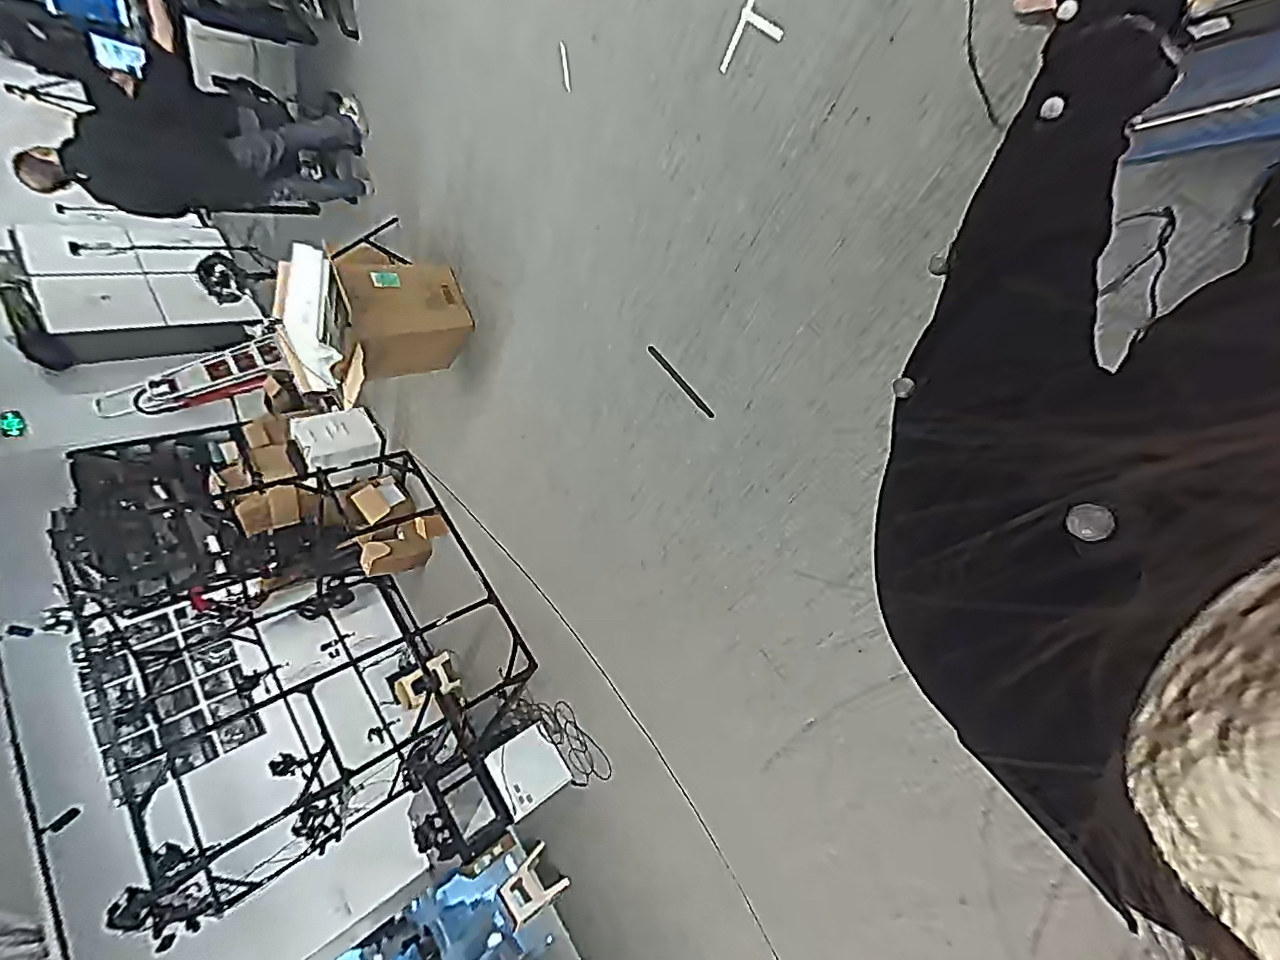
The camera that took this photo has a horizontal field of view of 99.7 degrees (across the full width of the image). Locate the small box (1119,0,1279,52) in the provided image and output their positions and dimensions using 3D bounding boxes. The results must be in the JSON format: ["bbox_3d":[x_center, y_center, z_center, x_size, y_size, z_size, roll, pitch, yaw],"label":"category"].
[{"bbox_3d":[0.788,-0.730,0.746,0.168,0.176,0.179,7,111,45],"label":"small box"}]
